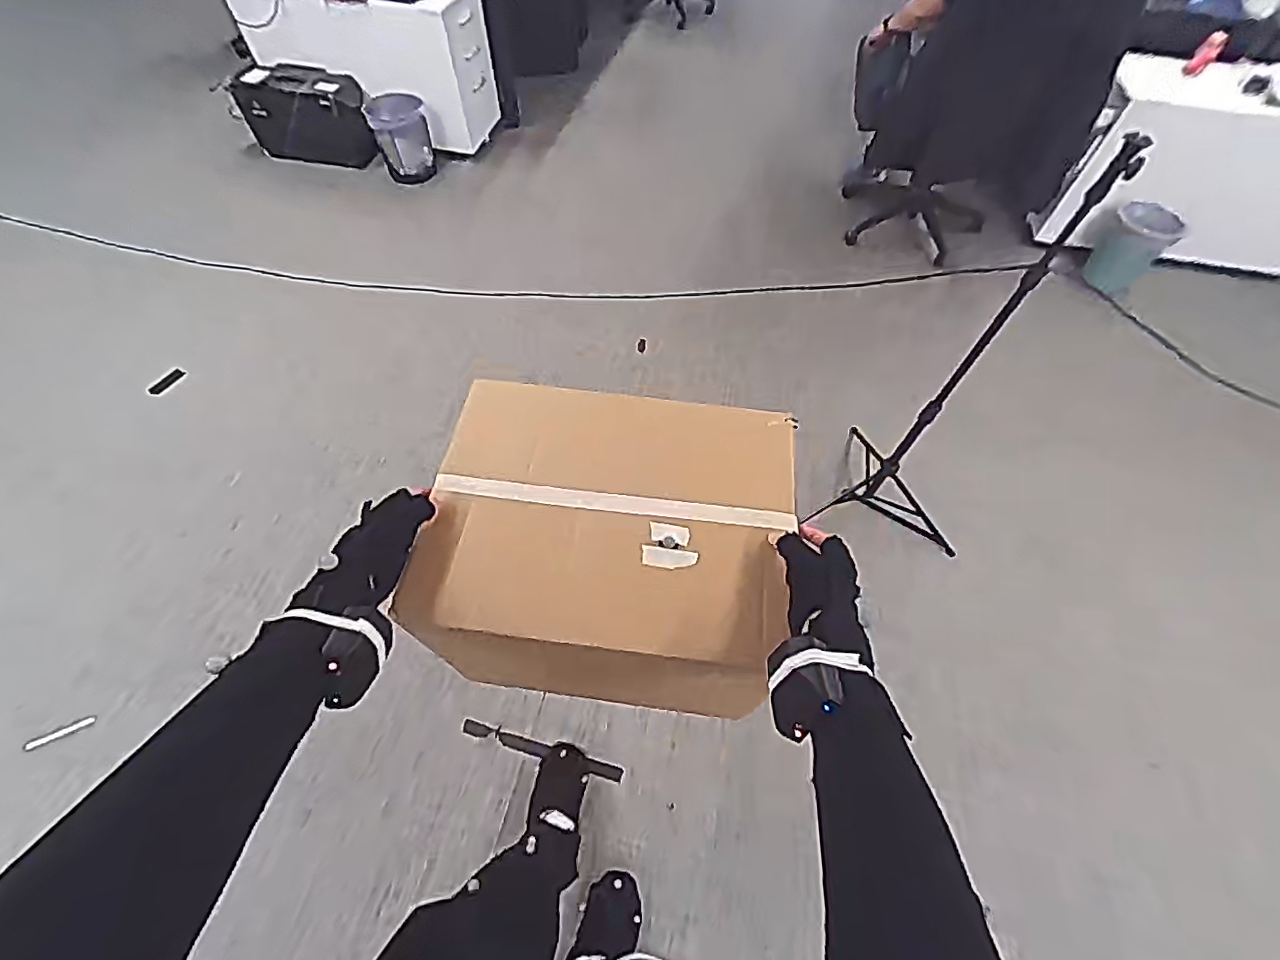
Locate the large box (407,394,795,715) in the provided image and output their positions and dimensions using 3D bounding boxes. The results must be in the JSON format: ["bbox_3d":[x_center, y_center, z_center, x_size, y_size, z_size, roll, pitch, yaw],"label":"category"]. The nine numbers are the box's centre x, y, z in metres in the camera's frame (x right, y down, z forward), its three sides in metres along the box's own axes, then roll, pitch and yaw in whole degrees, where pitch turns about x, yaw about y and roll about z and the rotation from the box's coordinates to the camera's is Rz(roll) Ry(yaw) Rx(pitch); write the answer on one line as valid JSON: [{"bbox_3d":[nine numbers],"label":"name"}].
[{"bbox_3d":[-0.032,0.115,0.746,0.408,0.320,0.320,7,58,2],"label":"large box"}]
